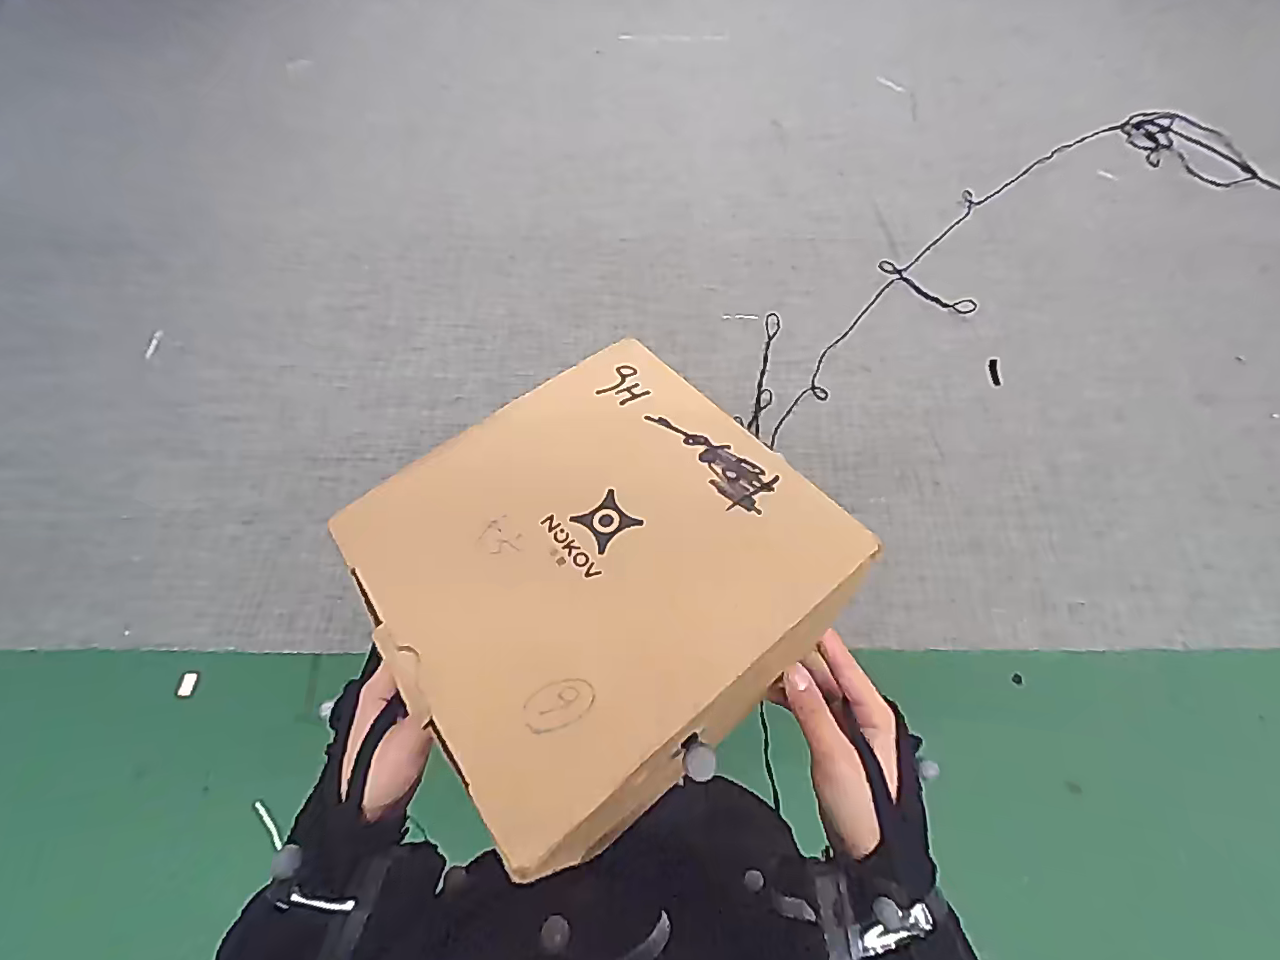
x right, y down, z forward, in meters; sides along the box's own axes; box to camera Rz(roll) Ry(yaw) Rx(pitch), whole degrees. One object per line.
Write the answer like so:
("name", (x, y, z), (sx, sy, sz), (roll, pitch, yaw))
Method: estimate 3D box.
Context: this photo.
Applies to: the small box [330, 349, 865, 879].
("small box", (-0.016, 0.071, 0.293), (0.179, 0.176, 0.168), (-36, 60, -16))
